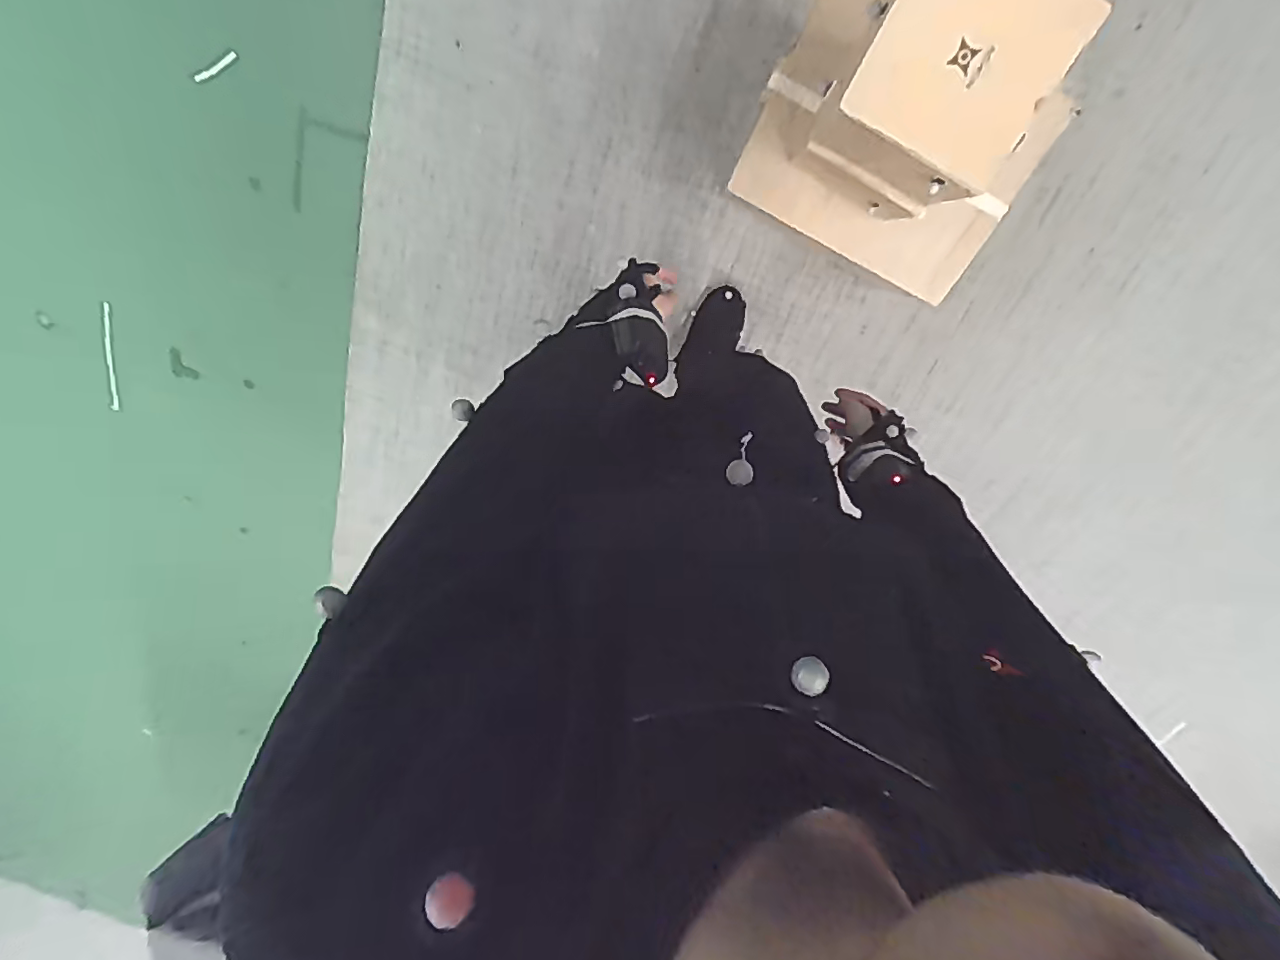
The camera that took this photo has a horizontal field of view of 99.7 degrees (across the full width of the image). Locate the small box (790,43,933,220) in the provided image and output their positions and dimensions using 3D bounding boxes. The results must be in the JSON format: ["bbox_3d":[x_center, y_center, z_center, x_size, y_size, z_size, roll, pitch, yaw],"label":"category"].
[{"bbox_3d":[0.327,-0.471,0.726,0.179,0.176,0.168,27,114,-5],"label":"small box"}]

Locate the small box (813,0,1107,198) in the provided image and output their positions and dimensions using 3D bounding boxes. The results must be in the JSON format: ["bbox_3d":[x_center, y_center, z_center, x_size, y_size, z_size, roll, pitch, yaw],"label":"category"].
[{"bbox_3d":[0.309,-0.419,0.573,0.179,0.176,0.168,26,114,-6],"label":"small box"}]

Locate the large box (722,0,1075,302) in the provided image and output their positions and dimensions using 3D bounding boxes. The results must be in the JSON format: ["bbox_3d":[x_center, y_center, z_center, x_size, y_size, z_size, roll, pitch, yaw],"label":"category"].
[{"bbox_3d":[0.393,-0.559,0.946,0.408,0.320,0.320,25,116,-6],"label":"large box"}]
